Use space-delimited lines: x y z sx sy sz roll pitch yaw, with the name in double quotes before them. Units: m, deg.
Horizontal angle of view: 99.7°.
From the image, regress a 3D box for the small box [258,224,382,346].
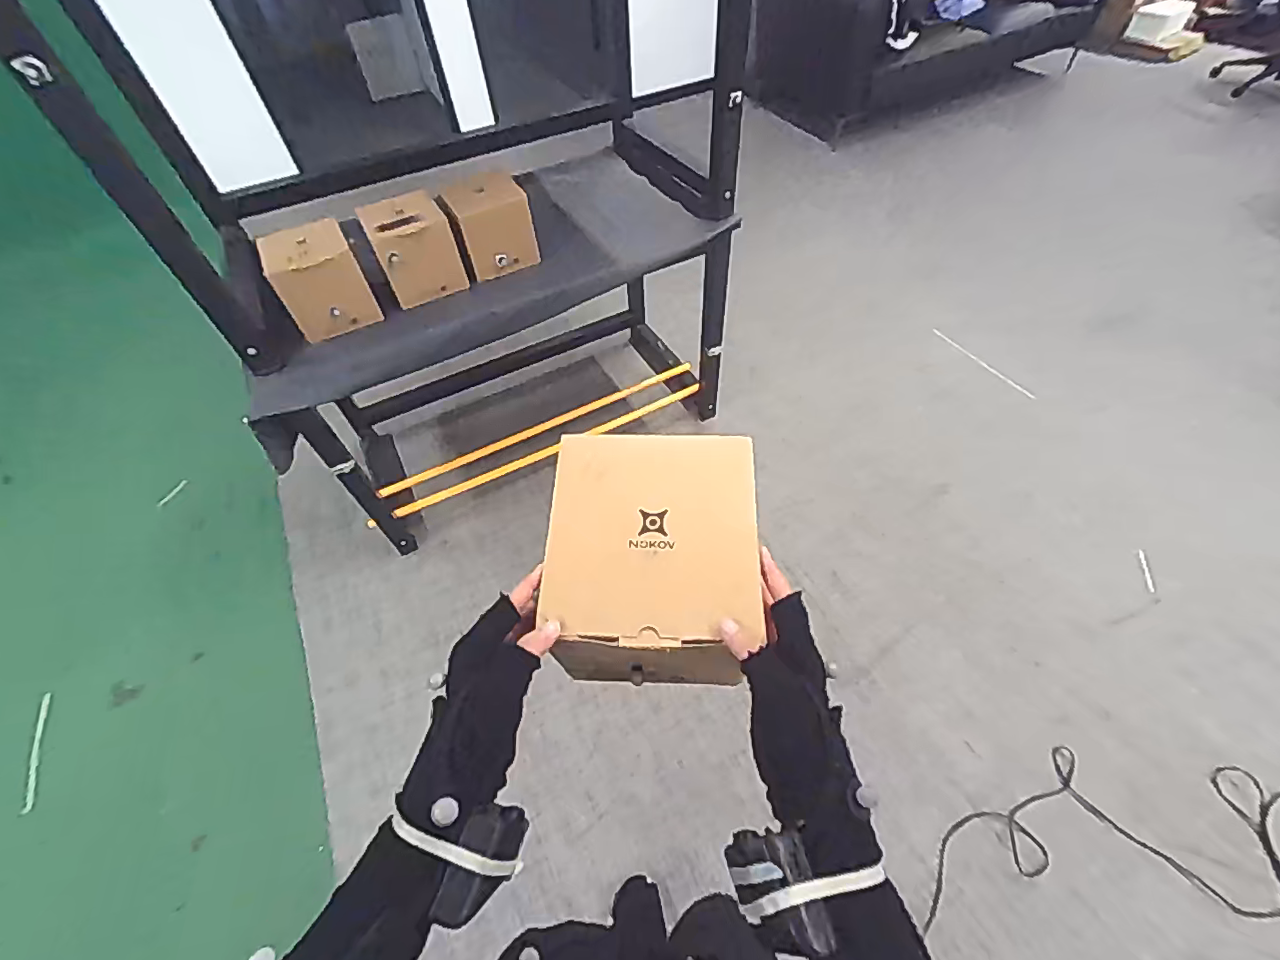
"small box" -0.695 -0.425 1.184 0.168 0.176 0.179 -26 55 -16
